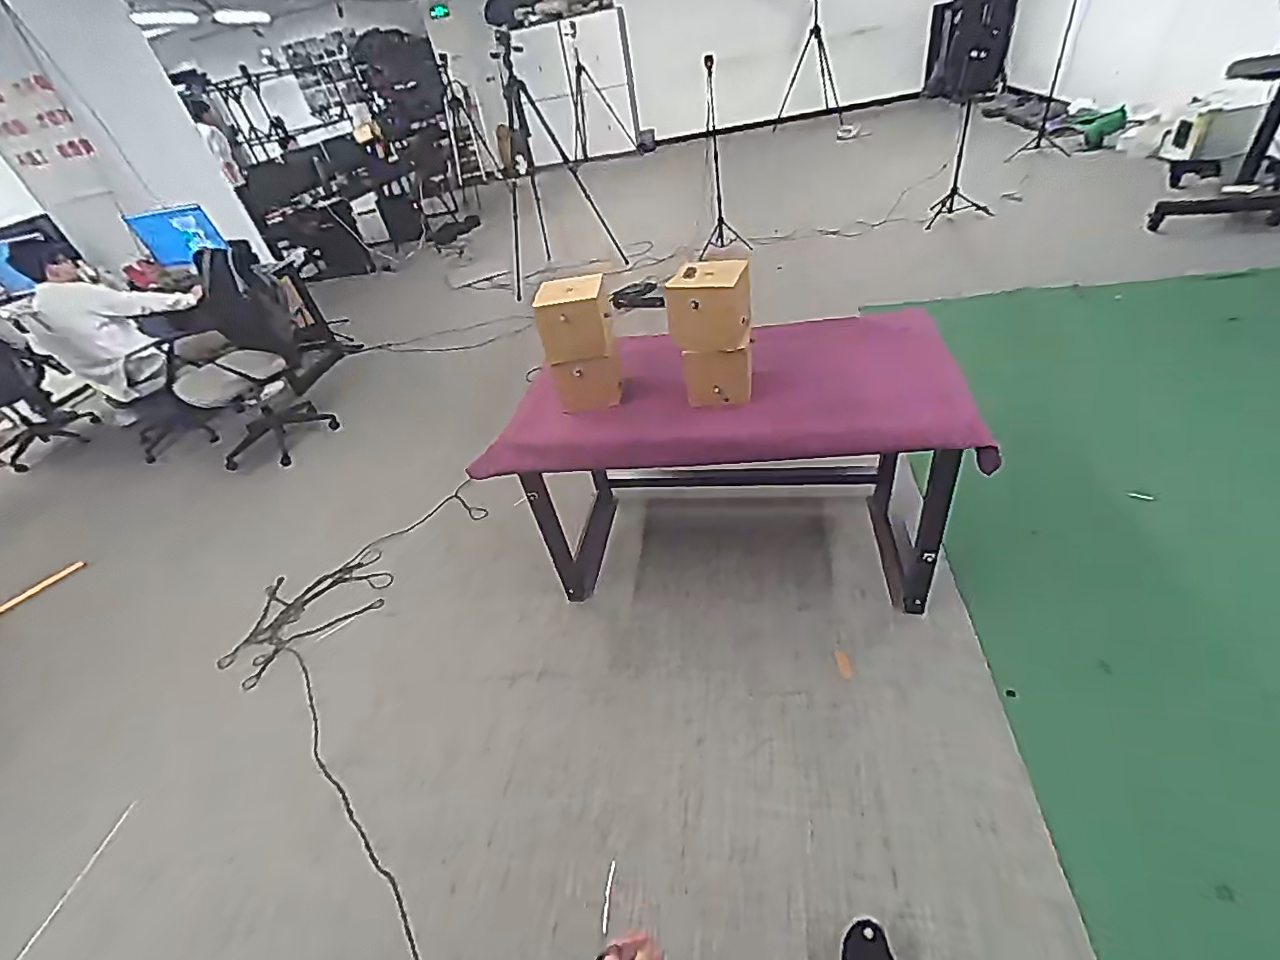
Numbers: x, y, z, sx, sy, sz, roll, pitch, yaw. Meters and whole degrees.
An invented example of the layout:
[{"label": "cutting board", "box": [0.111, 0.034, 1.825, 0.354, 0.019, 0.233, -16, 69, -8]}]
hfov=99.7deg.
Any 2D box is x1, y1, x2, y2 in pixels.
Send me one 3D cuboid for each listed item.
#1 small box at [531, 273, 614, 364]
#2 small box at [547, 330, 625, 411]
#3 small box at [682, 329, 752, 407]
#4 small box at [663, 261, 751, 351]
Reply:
[{"label": "small box", "box": [-0.173, -0.434, 1.461, 0.179, 0.176, 0.168, -6, 41, 9]}, {"label": "small box", "box": [-0.150, -0.314, 1.568, 0.179, 0.176, 0.168, -4, 40, 10]}, {"label": "small box", "box": [0.215, -0.315, 1.470, 0.168, 0.176, 0.179, -1, 41, 15]}, {"label": "small box", "box": [0.176, -0.438, 1.367, 0.179, 0.176, 0.168, 8, 43, 22]}]
